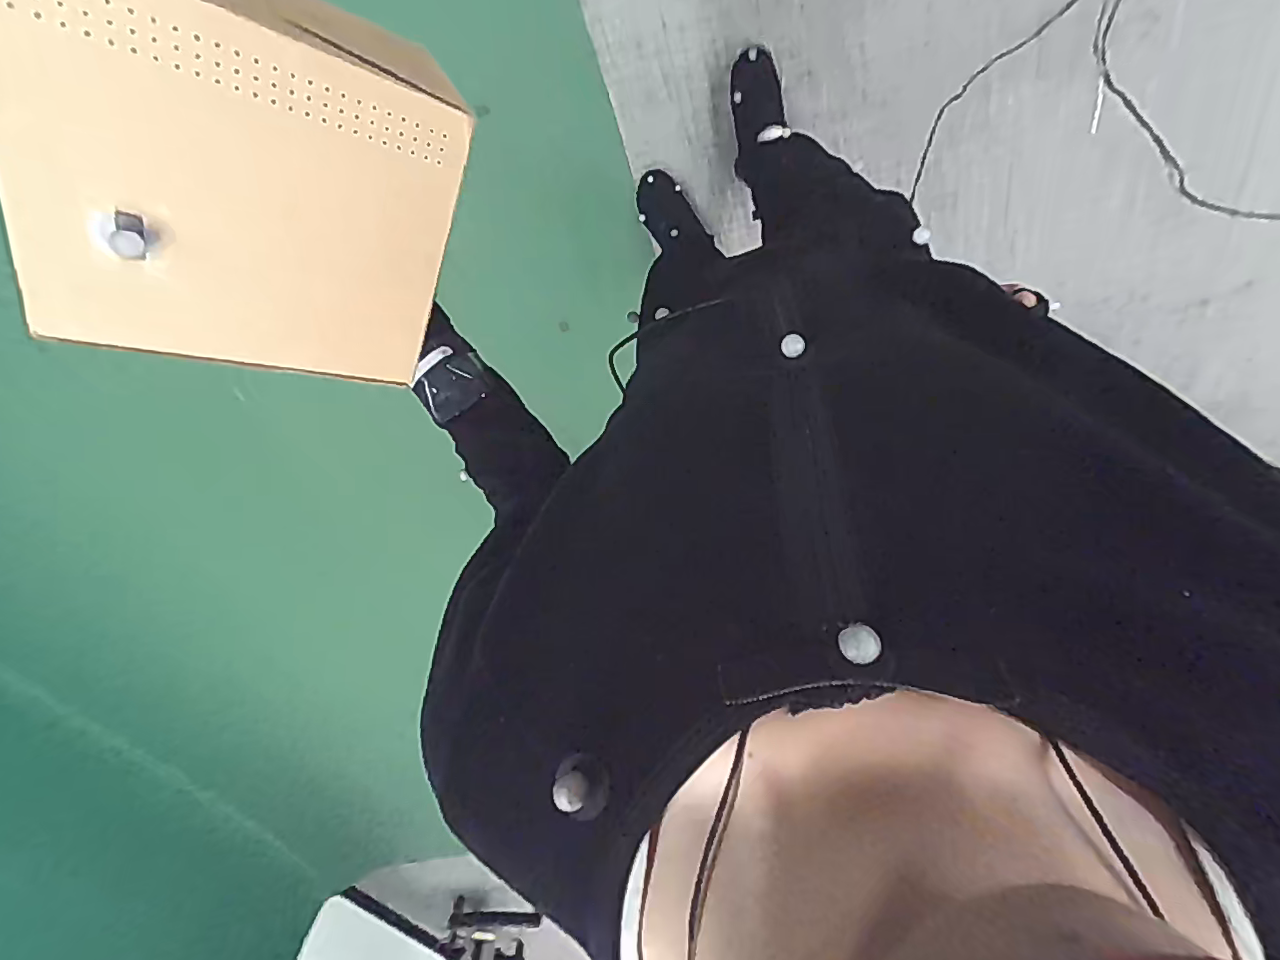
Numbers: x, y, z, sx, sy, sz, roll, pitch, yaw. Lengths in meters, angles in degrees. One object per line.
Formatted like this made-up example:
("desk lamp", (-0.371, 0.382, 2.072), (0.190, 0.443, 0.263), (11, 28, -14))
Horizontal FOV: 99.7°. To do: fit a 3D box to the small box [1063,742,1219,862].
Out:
("small box", (1.092, 0.706, 1.195), (0.179, 0.176, 0.168), (-14, 121, 9))
